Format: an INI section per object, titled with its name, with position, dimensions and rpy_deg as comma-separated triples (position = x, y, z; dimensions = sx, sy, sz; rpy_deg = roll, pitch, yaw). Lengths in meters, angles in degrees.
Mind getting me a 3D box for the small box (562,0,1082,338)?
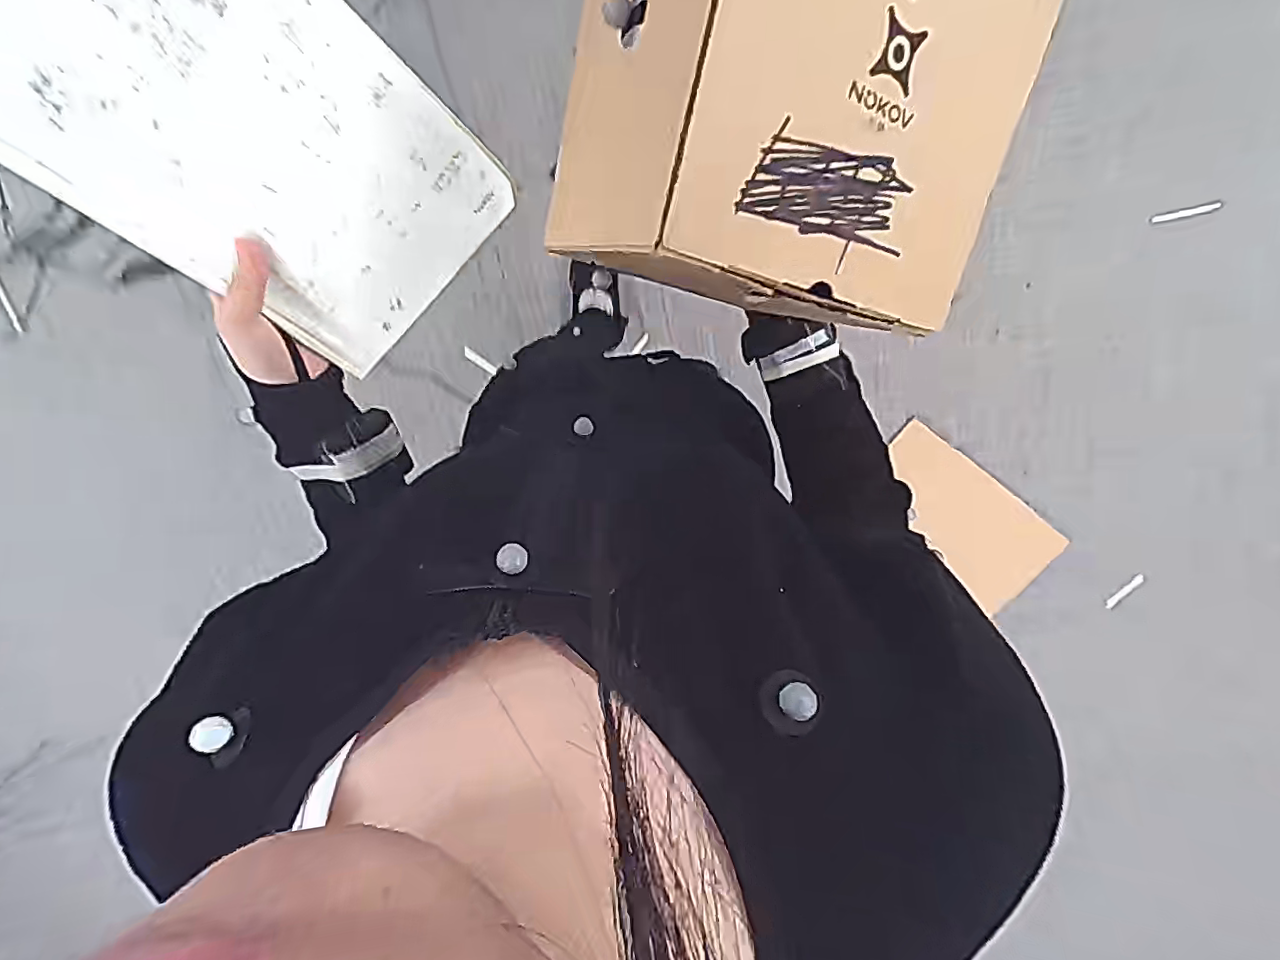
[small box]
position = 0.068, -0.188, 0.280
dimensions = 0.168, 0.176, 0.179
rpy_deg = 6, 108, -27
